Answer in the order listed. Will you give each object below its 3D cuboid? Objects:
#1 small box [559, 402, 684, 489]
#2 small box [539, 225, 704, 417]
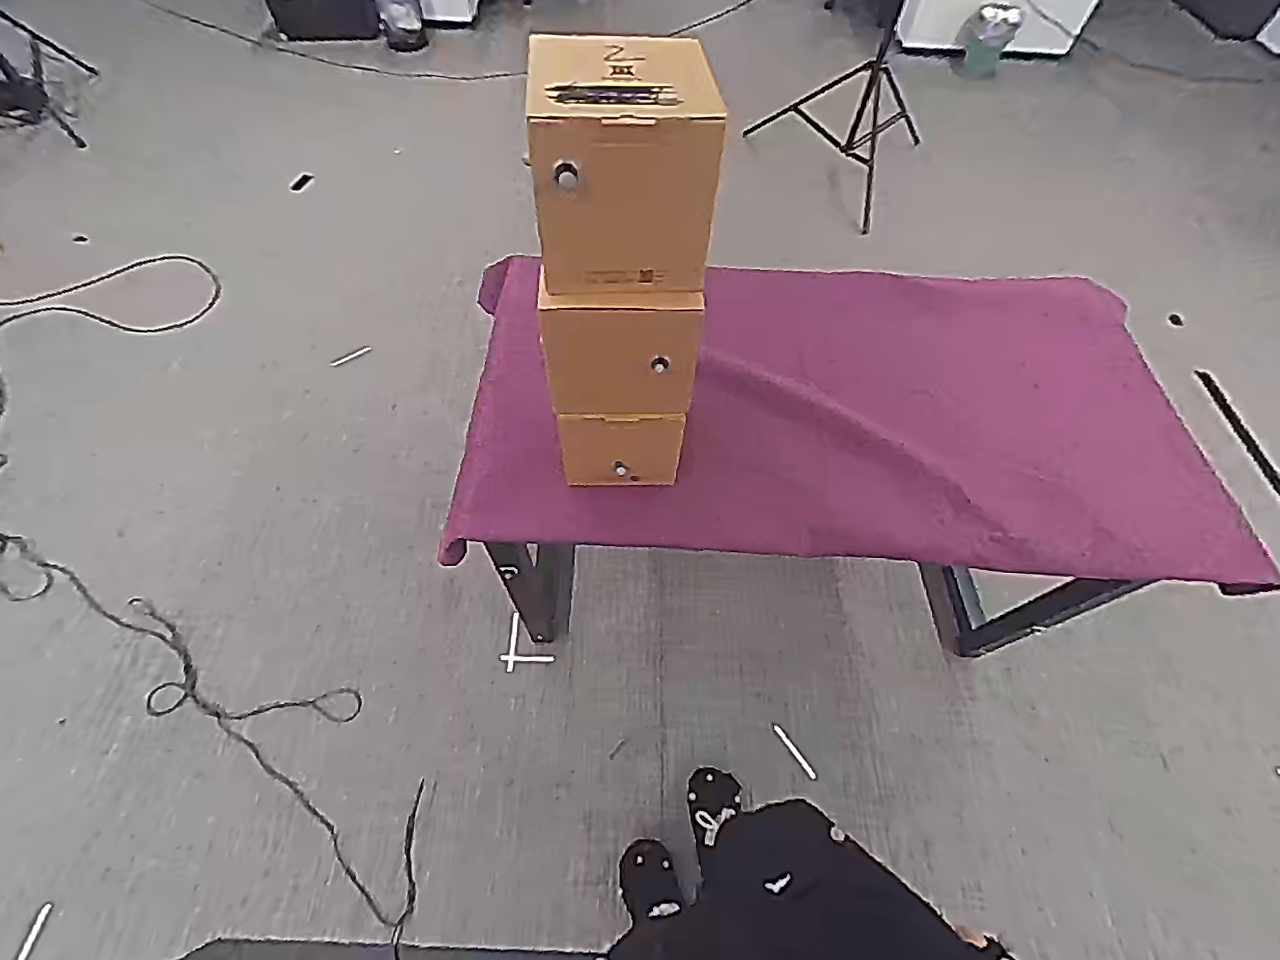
[{"bbox_3d":[-0.029,-0.104,0.811,0.168,0.176,0.179,0,58,-2],"label":"small box"},{"bbox_3d":[-0.024,-0.191,0.675,0.179,0.176,0.168,-1,56,-2],"label":"small box"}]
